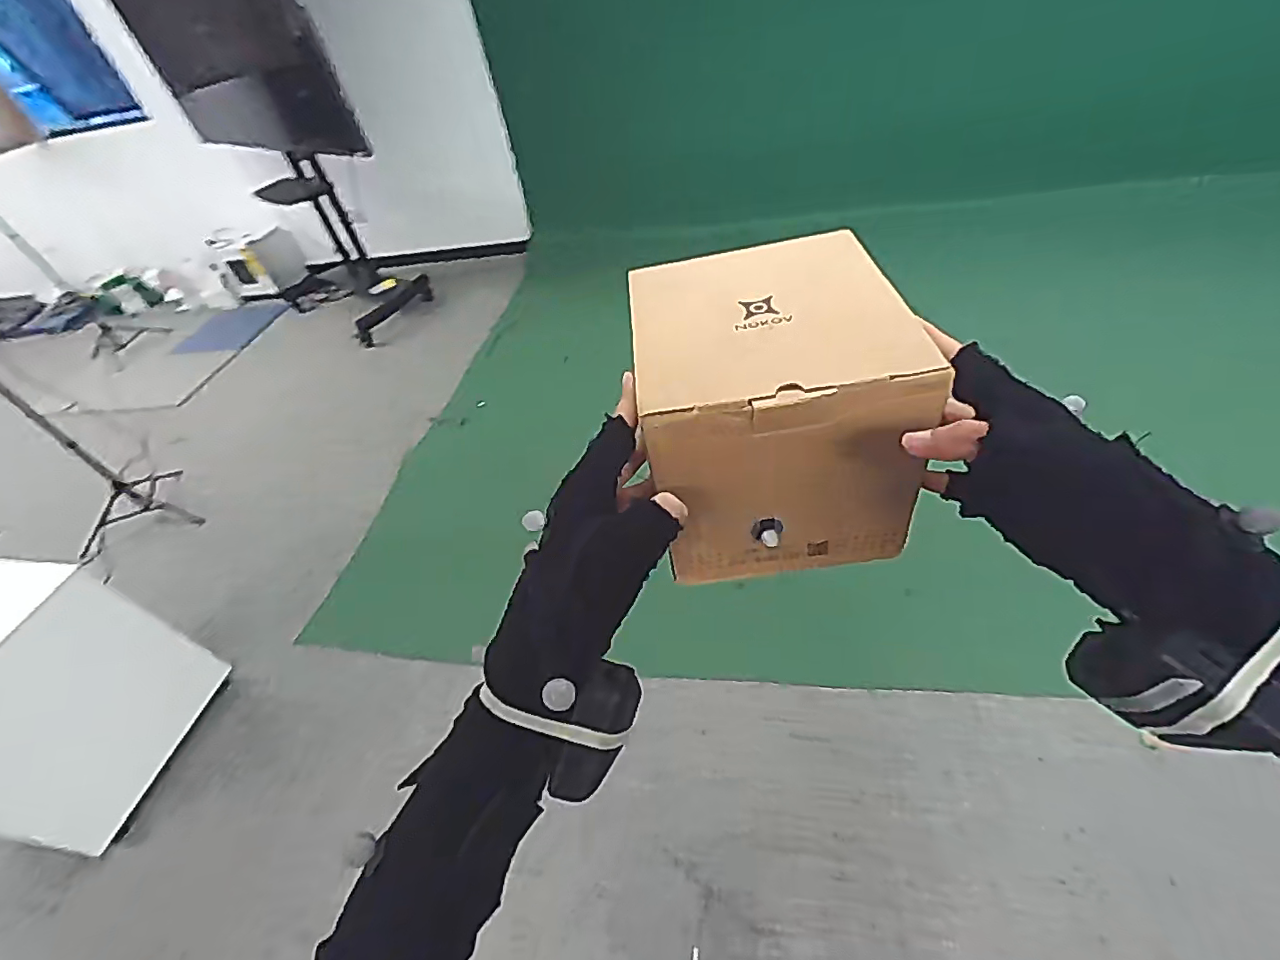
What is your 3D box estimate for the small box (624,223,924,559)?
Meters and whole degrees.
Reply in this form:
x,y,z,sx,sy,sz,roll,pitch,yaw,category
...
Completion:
x,y,z,sx,sy,sz,roll,pitch,yaw,category
0.082,-0.064,0.409,0.168,0.176,0.179,-8,46,6,small box
